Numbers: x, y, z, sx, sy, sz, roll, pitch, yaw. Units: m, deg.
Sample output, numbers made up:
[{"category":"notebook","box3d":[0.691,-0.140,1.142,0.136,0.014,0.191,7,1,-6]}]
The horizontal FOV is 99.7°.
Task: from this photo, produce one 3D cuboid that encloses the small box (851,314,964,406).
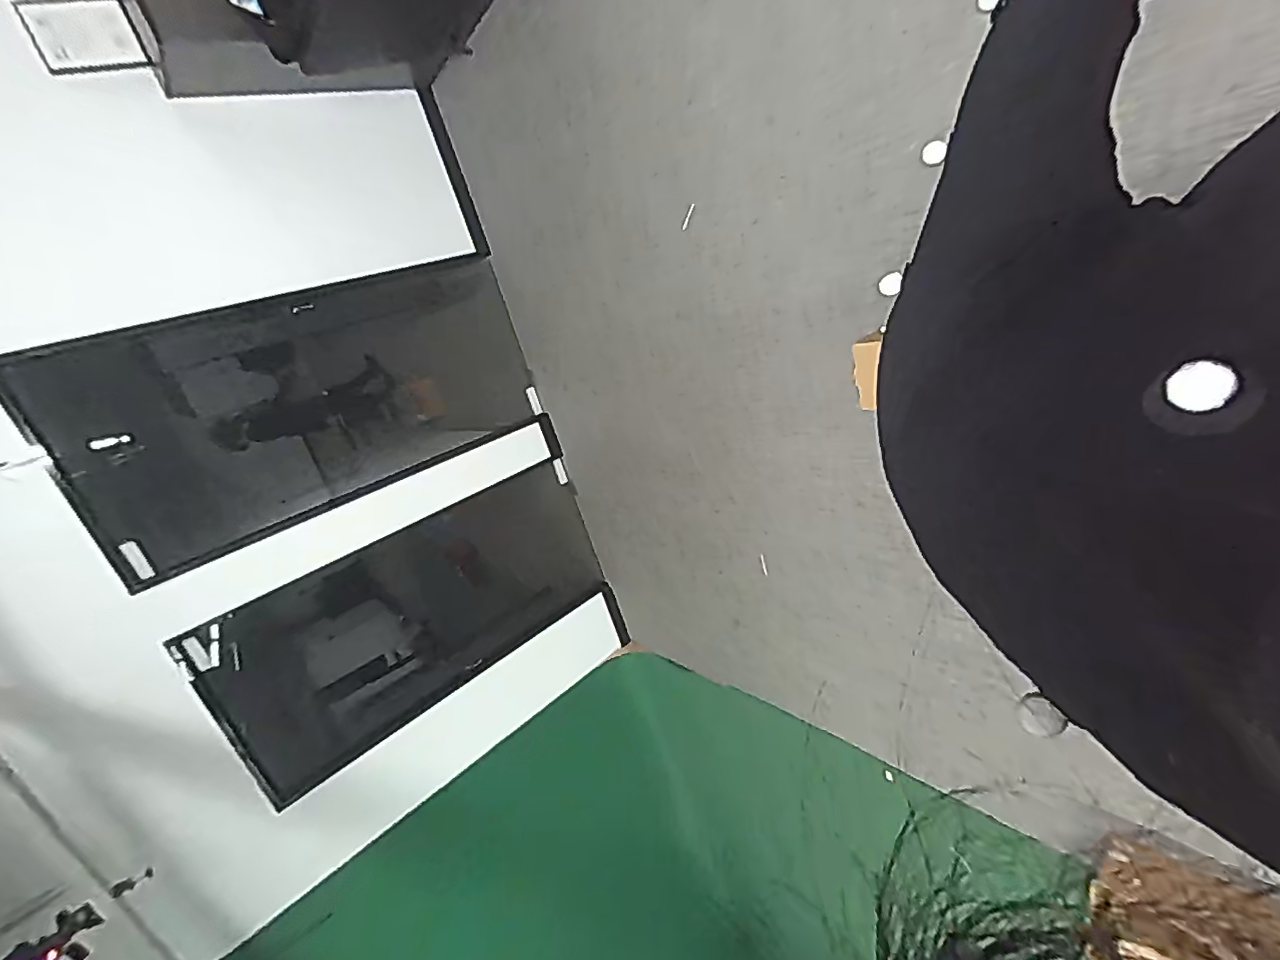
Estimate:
[{"category":"small box","box3d":[0.628,-0.278,1.268,0.179,0.176,0.168,8,122,51]}]
